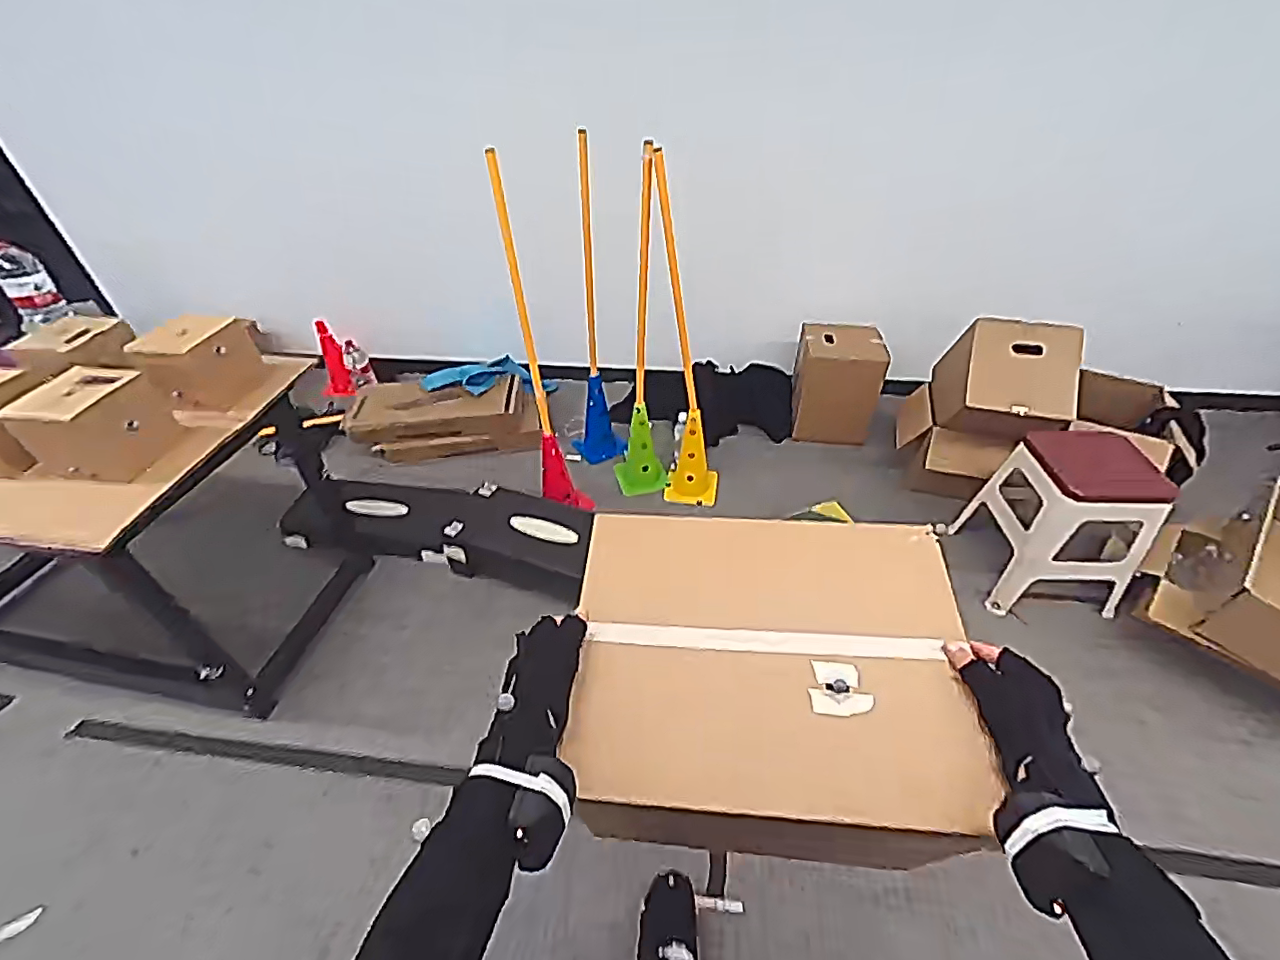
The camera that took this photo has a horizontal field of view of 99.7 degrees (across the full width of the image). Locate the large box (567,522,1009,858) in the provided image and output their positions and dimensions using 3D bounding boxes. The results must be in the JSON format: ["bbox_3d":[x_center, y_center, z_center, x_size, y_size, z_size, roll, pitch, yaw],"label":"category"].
[{"bbox_3d":[0.145,0.271,0.696,0.408,0.320,0.320,2,51,6],"label":"large box"}]
